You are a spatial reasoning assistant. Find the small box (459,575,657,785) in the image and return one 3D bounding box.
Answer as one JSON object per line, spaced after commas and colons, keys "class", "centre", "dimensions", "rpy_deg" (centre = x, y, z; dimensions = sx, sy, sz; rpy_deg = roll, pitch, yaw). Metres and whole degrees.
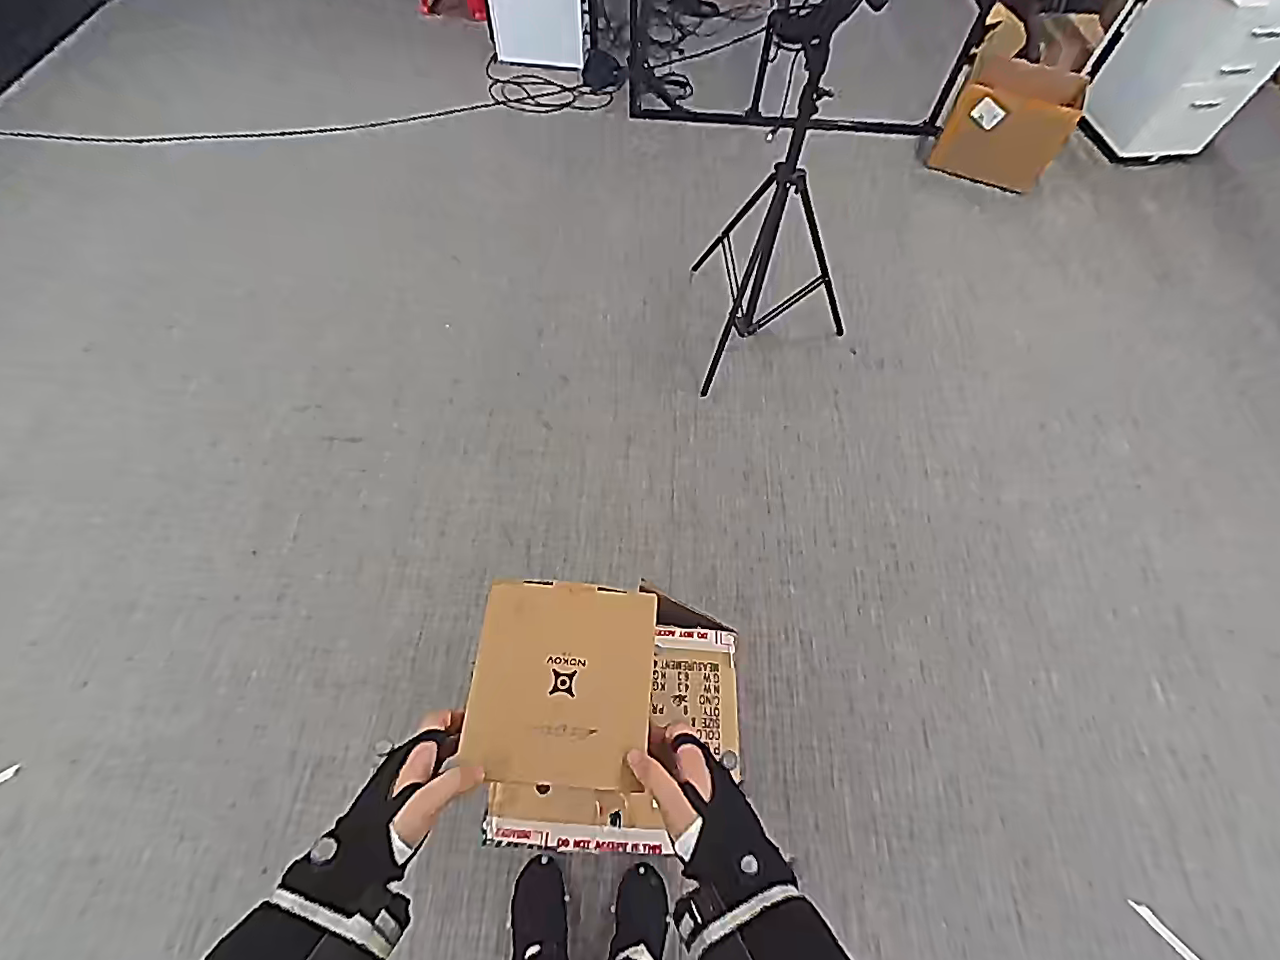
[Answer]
{"class": "small box", "centre": [-0.077, 0.213, 0.574], "dimensions": [0.168, 0.176, 0.179], "rpy_deg": [5, 65, -3]}
